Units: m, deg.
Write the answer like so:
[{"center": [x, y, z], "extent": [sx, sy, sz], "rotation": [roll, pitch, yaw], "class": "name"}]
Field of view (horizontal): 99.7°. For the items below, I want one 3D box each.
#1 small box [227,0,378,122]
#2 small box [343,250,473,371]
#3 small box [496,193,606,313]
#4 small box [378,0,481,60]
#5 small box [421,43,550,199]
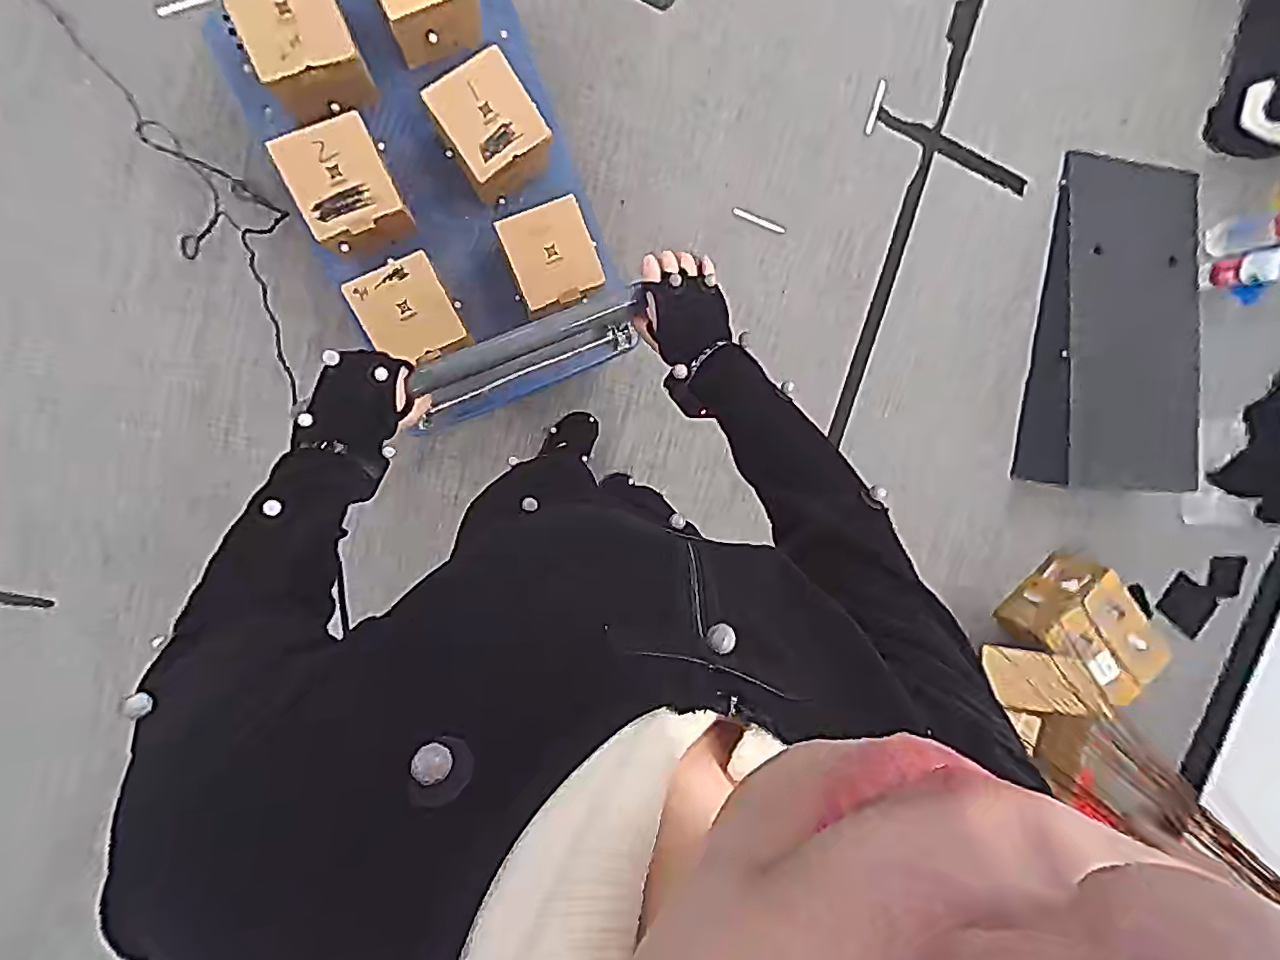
[{"center": [-0.605, -0.794, 0.975], "extent": [0.168, 0.176, 0.179], "rotation": [-22, 104, -7], "class": "small box"}, {"center": [-0.453, -0.333, 1.091], "extent": [0.168, 0.176, 0.179], "rotation": [-28, 105, -7], "class": "small box"}, {"center": [-0.185, -0.459, 1.126], "extent": [0.168, 0.176, 0.179], "rotation": [-24, 104, -7], "class": "small box"}, {"center": [-0.408, -0.922, 0.994], "extent": [0.168, 0.176, 0.179], "rotation": [-27, 104, -6], "class": "small box"}, {"center": [-0.292, -0.684, 1.061], "extent": [0.168, 0.176, 0.179], "rotation": [-36, 104, -4], "class": "small box"}]
